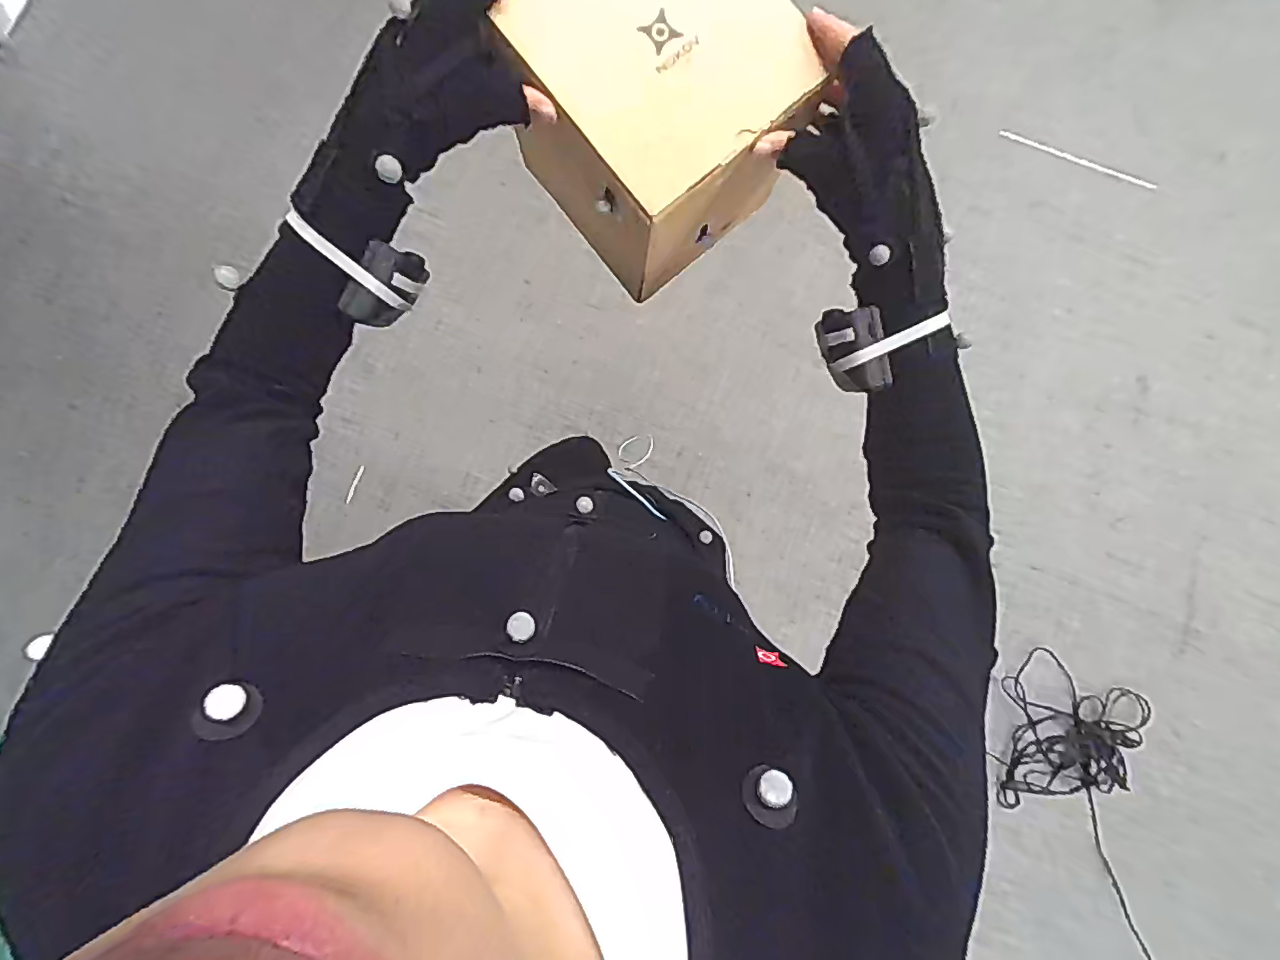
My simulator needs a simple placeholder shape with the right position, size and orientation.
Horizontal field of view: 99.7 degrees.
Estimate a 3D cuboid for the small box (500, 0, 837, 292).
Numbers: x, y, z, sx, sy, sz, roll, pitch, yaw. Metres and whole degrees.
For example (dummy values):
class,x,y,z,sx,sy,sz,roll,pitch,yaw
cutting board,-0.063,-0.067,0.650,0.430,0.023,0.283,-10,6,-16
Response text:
class,x,y,z,sx,sy,sz,roll,pitch,yaw
small box,0.015,-0.290,0.444,0.168,0.176,0.179,-39,93,-3
